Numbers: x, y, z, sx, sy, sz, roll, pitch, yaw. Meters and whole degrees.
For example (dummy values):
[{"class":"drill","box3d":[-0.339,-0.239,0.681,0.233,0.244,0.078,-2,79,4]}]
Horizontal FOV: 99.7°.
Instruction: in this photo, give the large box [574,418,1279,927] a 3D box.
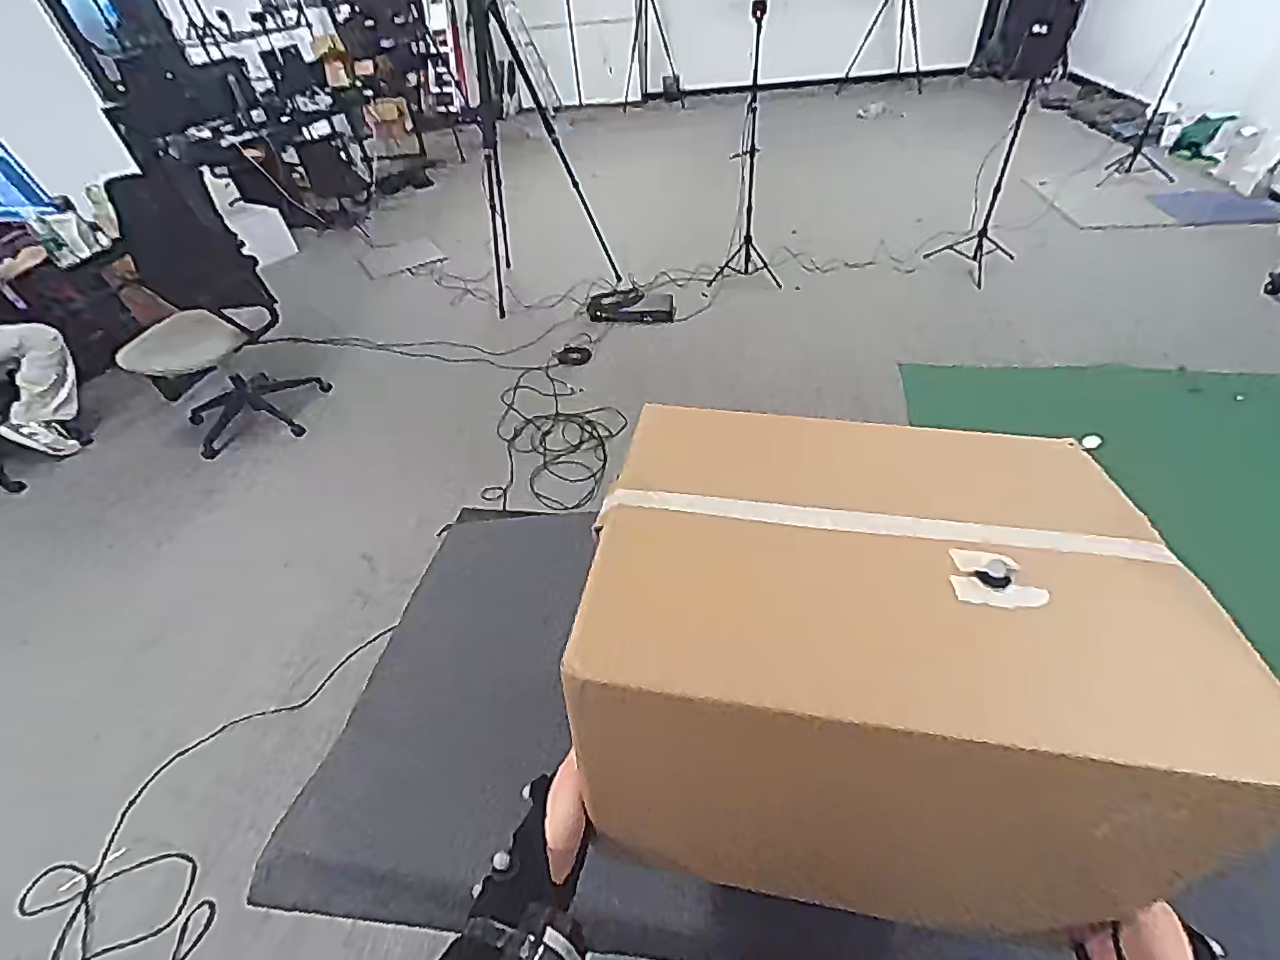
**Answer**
[{"class":"large box","box3d":[0.175,0.162,0.515,0.408,0.320,0.320,6,40,8]}]
